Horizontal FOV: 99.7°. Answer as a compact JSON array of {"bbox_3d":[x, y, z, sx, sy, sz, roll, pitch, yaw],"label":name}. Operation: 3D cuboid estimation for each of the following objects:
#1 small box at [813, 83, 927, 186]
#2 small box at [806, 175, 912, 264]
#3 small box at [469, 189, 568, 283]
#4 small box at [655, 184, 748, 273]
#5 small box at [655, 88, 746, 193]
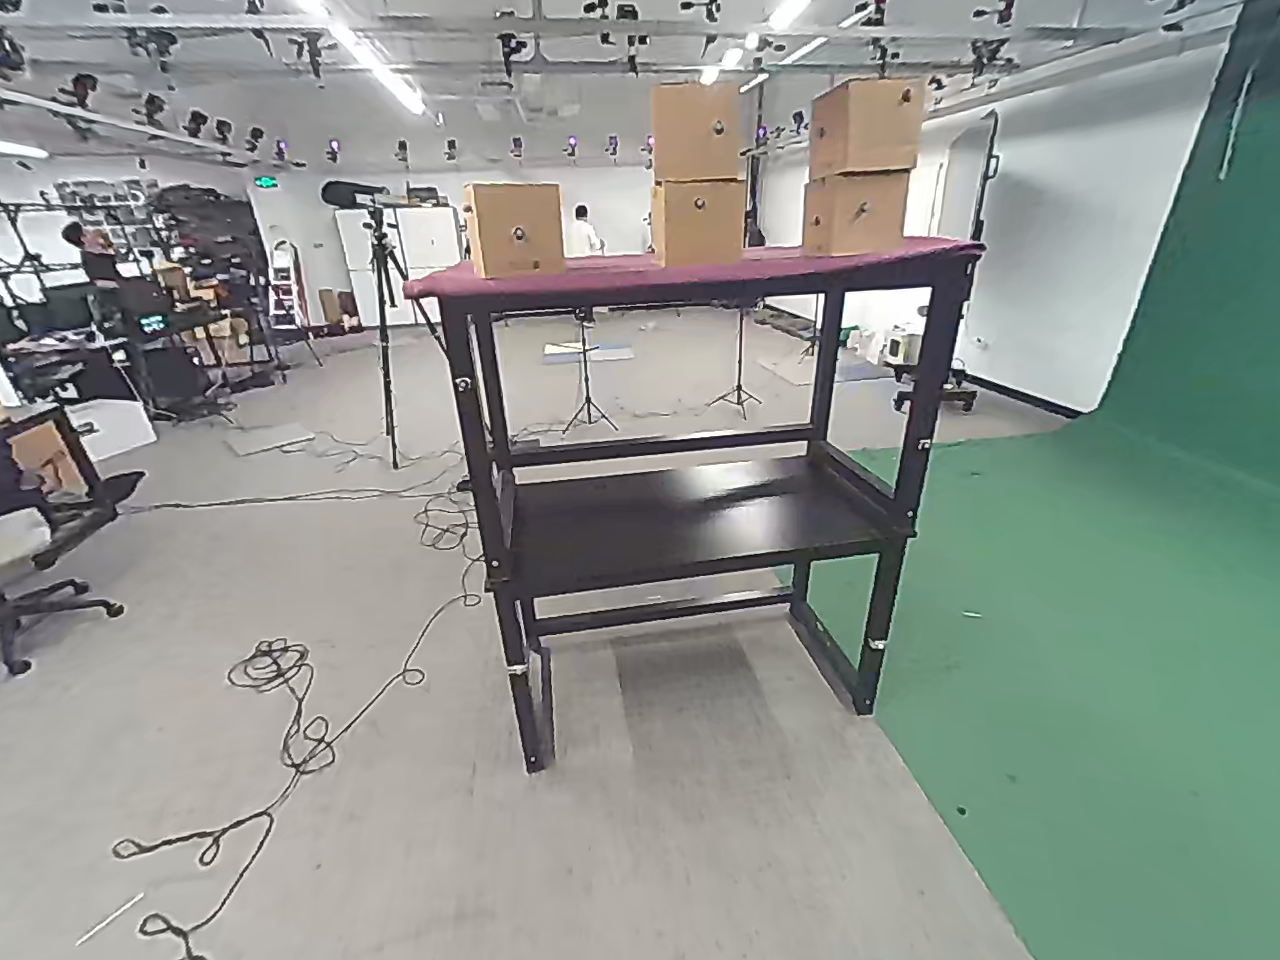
[{"bbox_3d":[0.498,-0.749,1.194,0.179,0.176,0.168,-7,23,-7],"label":"small box"},{"bbox_3d":[0.505,-0.604,1.270,0.179,0.176,0.168,-7,24,-6],"label":"small box"},{"bbox_3d":[-0.252,-0.505,1.123,0.168,0.176,0.179,-10,27,-19],"label":"small box"},{"bbox_3d":[0.133,-0.559,1.212,0.179,0.176,0.168,-5,26,-7],"label":"small box"},{"bbox_3d":[0.122,-0.706,1.142,0.179,0.176,0.168,-2,25,3],"label":"small box"}]
